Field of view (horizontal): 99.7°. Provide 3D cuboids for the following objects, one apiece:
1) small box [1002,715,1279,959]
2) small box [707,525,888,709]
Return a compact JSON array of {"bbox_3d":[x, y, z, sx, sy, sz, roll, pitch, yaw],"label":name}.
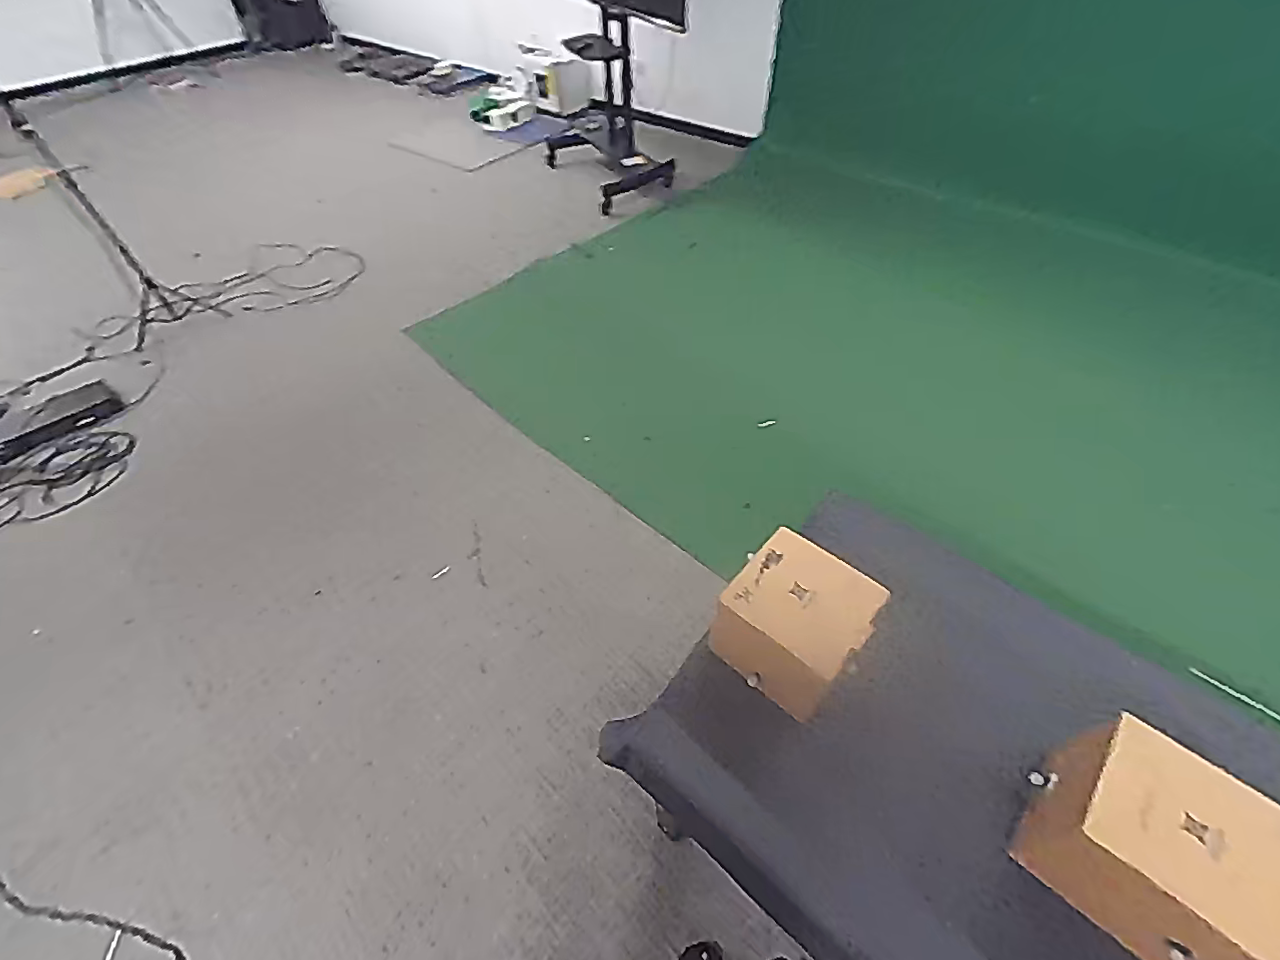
[{"bbox_3d":[0.565,0.413,0.616,0.179,0.176,0.168,34,56,28],"label":"small box"},{"bbox_3d":[0.219,0.207,0.792,0.179,0.176,0.168,35,58,25],"label":"small box"}]
